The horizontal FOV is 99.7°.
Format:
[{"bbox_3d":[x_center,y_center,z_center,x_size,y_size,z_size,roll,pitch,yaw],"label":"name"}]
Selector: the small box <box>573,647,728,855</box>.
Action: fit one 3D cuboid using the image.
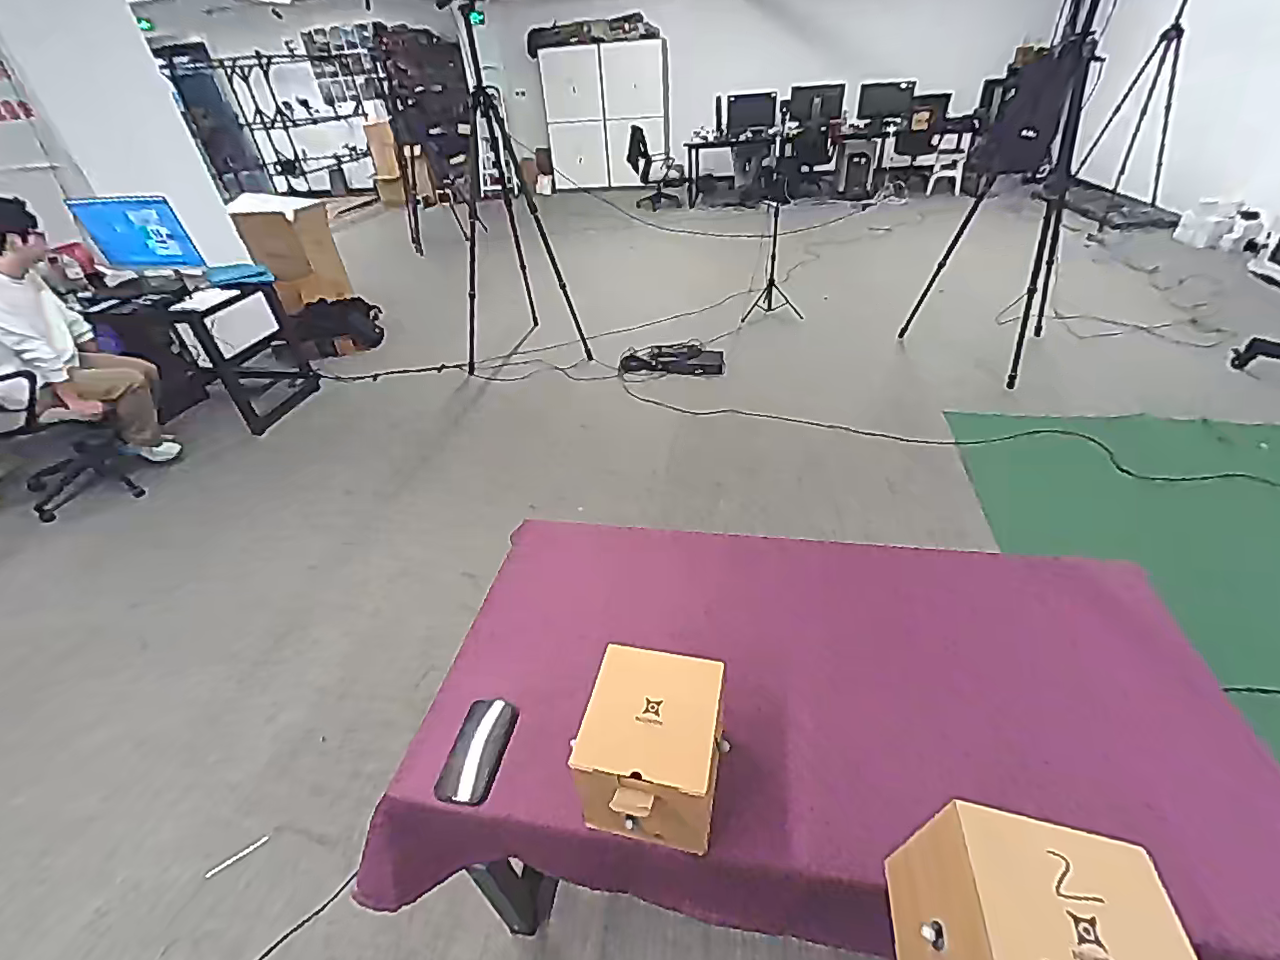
[{"bbox_3d":[0.022,0.359,0.726,0.168,0.176,0.179,6,38,13],"label":"small box"}]
